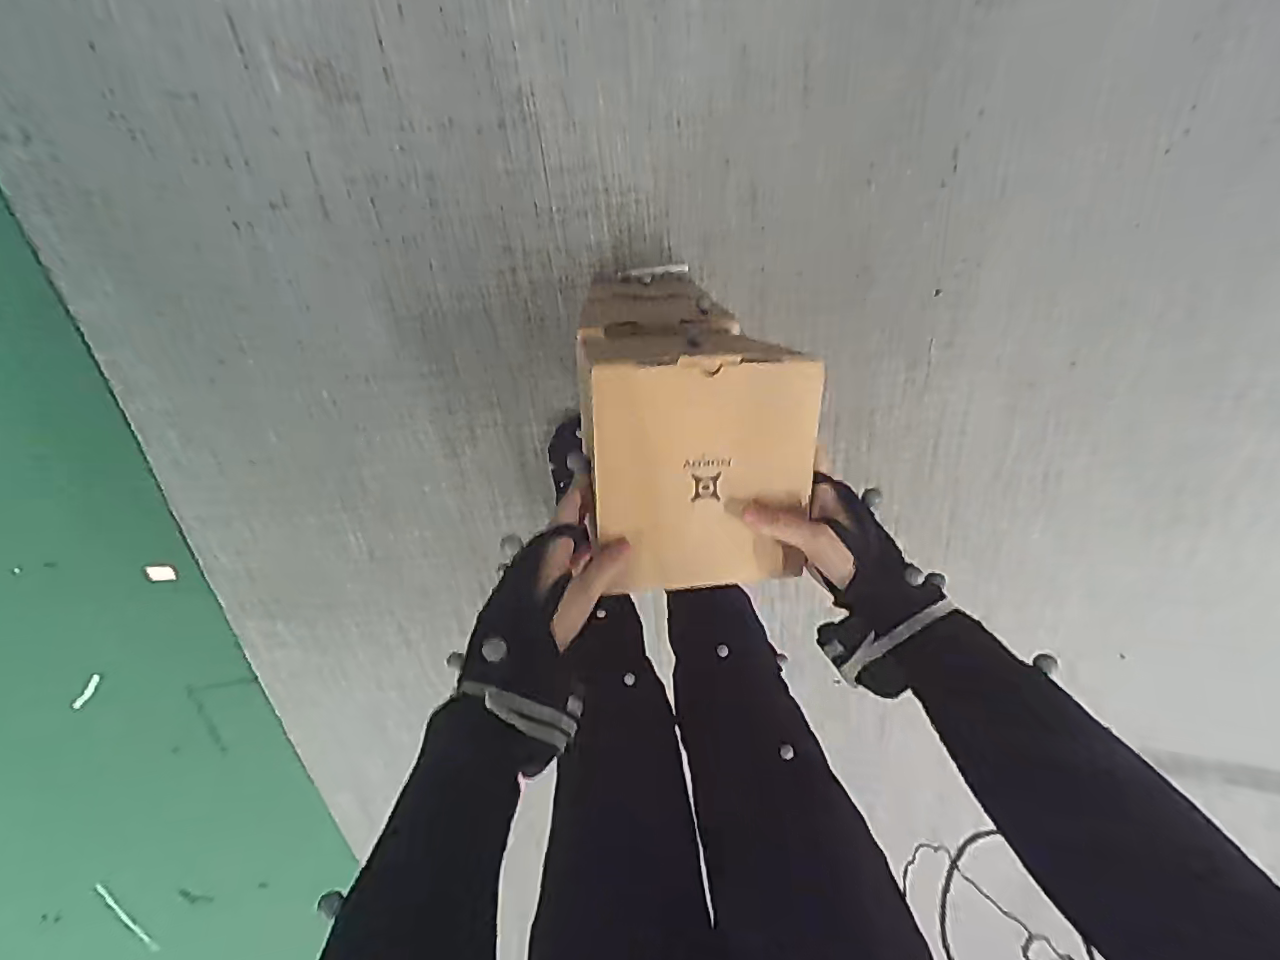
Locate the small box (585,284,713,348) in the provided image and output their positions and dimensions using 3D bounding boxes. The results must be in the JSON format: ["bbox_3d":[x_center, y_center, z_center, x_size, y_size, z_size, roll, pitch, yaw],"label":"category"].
[{"bbox_3d":[0.006,-0.184,0.792,0.168,0.176,0.179,-1,116,-4],"label":"small box"}]

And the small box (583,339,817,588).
[{"bbox_3d":[0.035,-0.026,0.477,0.168,0.176,0.179,-3,110,-7],"label":"small box"}]
